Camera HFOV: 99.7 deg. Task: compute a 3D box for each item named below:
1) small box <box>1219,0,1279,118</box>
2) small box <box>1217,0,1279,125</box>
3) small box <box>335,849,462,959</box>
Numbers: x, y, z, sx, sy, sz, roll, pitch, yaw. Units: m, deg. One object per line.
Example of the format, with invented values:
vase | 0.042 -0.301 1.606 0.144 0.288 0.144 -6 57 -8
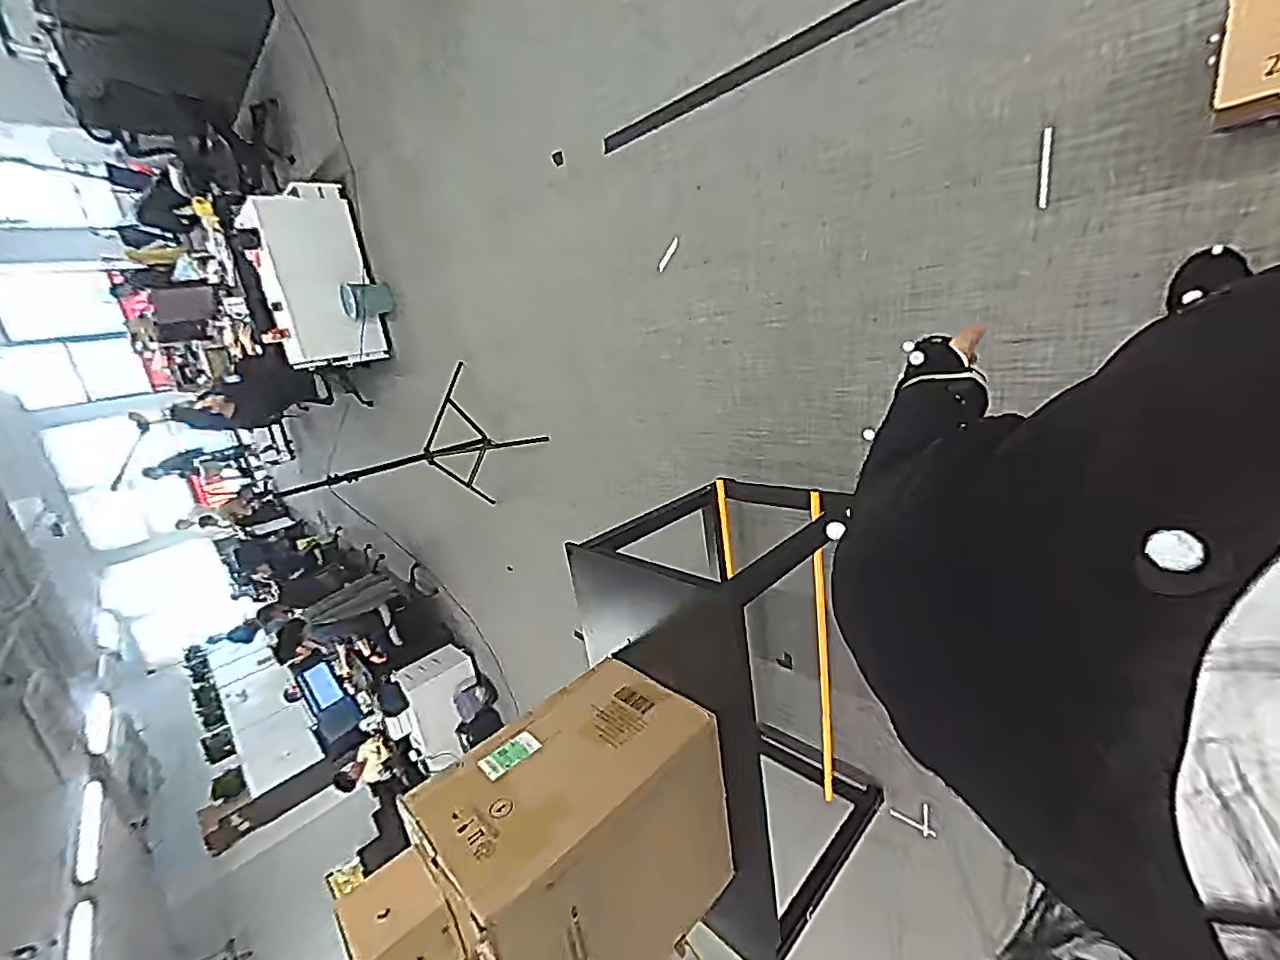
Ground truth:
small box | 0.894 -0.607 0.707 0.168 0.176 0.179 11 115 47
small box | 1.005 -0.666 0.815 0.168 0.176 0.179 10 116 47
small box | -0.470 0.890 1.072 0.179 0.176 0.168 11 116 47
